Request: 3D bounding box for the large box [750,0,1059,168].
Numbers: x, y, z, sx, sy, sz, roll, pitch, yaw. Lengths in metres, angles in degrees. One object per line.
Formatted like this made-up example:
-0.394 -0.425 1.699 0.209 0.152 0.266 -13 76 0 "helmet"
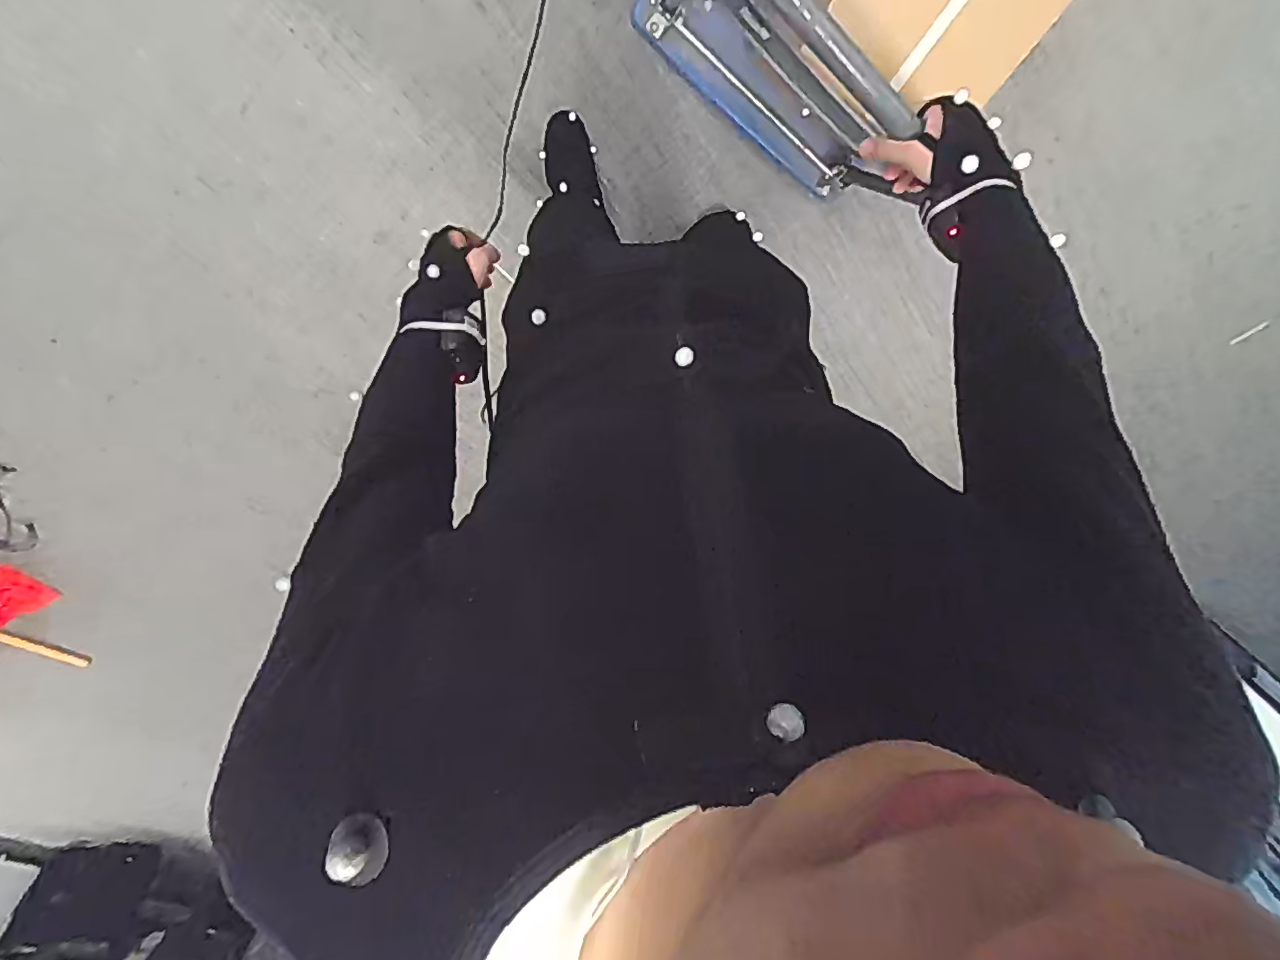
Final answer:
0.454 -0.824 0.910 0.320 0.320 0.408 25 120 -24 "large box"
